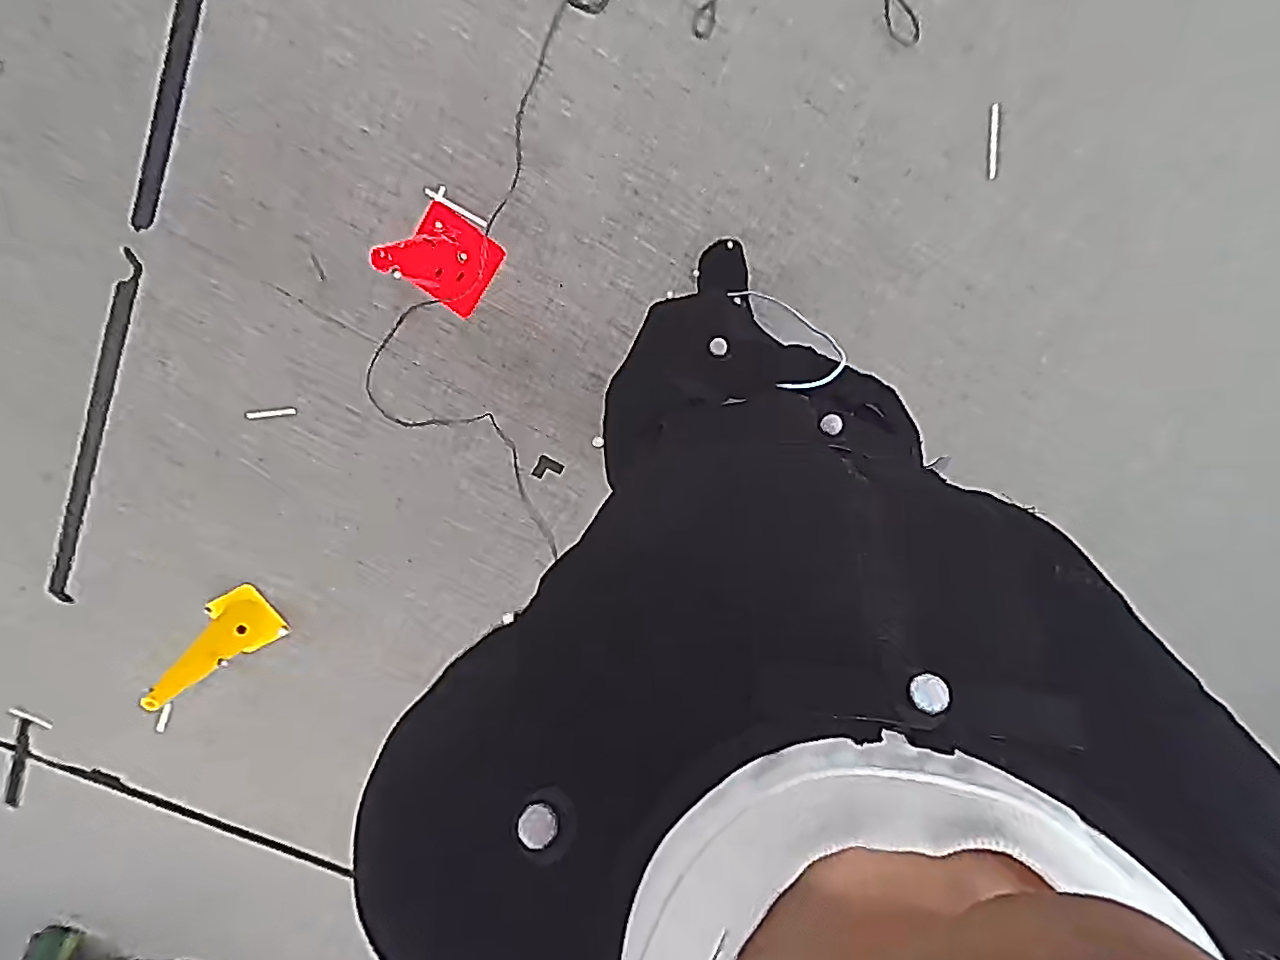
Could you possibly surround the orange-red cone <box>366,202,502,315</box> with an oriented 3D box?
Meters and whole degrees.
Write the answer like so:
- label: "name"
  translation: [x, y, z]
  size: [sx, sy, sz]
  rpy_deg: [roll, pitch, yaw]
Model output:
- label: "orange-red cone"
  translation: [-0.459, -0.458, 1.125]
  size: [0.198, 0.360, 0.199]
  rpy_deg: [37, 110, -11]
